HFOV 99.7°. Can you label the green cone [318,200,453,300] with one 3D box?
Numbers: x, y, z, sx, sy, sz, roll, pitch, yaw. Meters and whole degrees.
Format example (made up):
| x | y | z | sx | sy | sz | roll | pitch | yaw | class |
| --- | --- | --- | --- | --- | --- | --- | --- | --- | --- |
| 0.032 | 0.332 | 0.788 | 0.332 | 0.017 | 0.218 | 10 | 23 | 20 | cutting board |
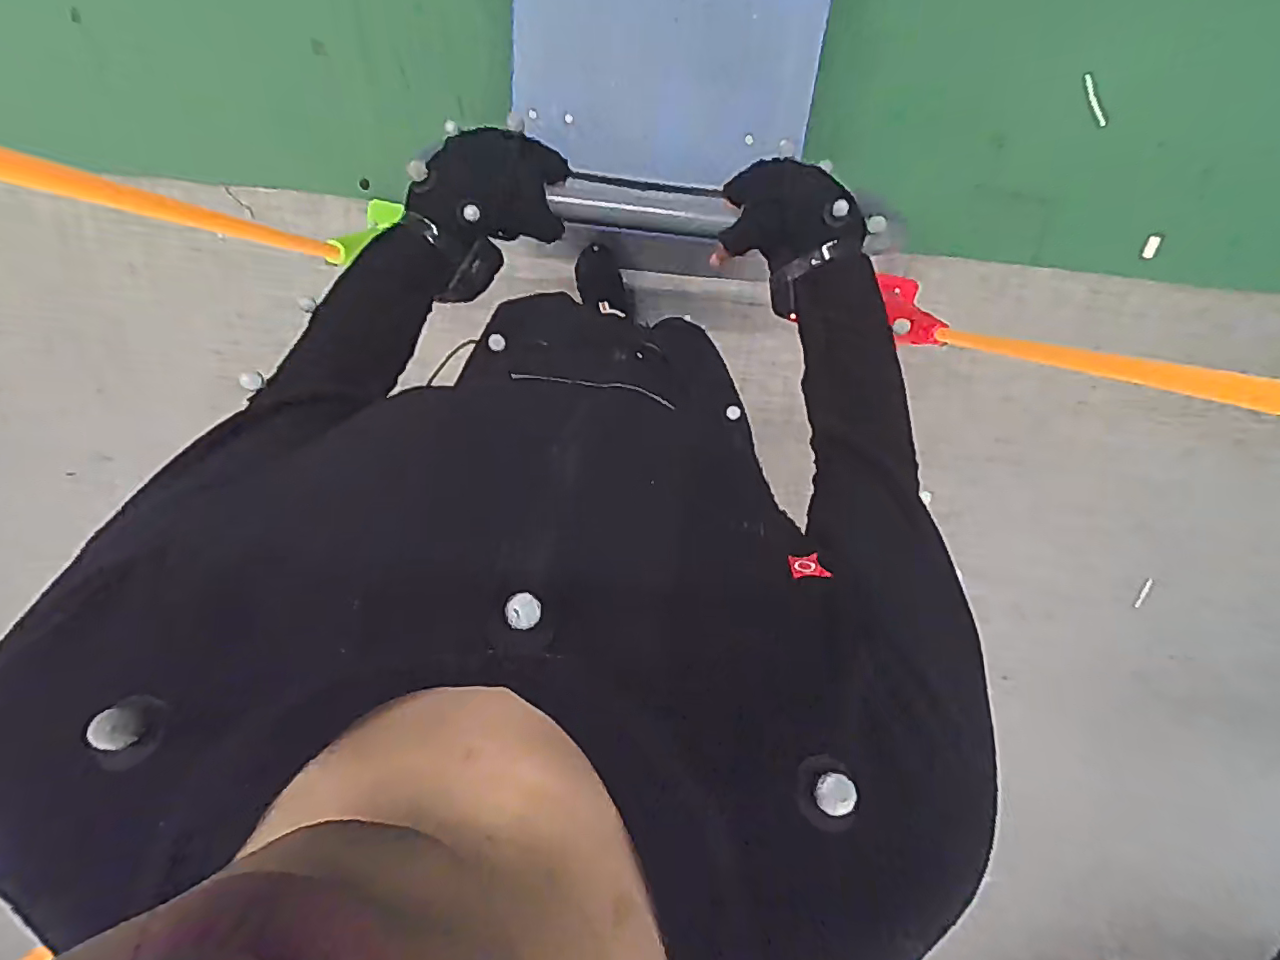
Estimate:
| x | y | z | sx | sy | sz | roll | pitch | yaw | class |
| --- | --- | --- | --- | --- | --- | --- | --- | --- | --- |
| -0.556 | -0.488 | 1.142 | 0.202 | 0.368 | 0.200 | 10 | 111 | -3 | green cone |
